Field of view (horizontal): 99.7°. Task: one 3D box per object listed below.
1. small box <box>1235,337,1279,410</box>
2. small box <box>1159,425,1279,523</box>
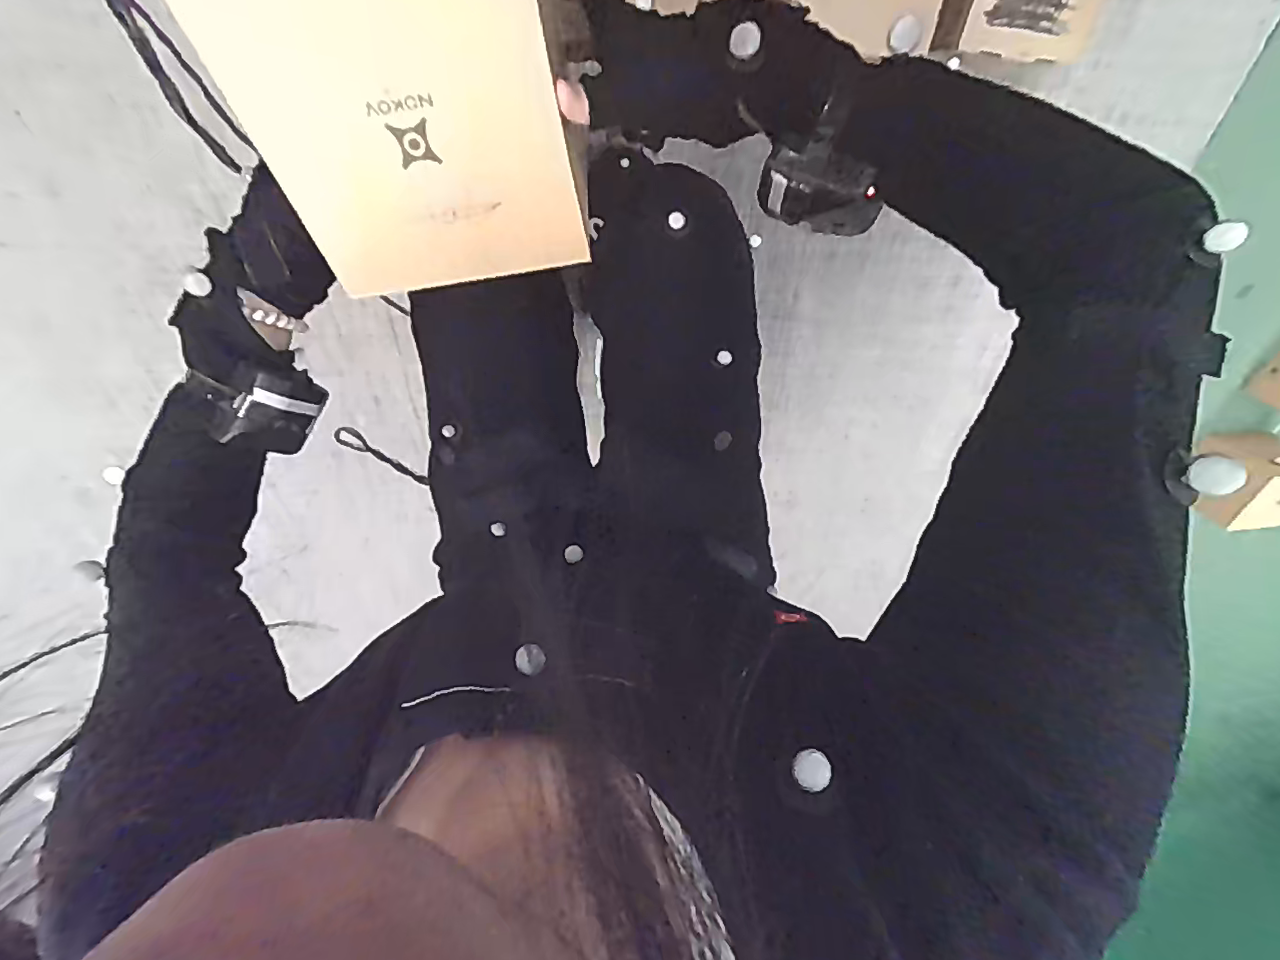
[{"bbox_3d":[1.457,-0.221,1.142,0.179,0.176,0.168,6,127,-13],"label":"small box"},{"bbox_3d":[1.430,-0.018,1.300,0.179,0.176,0.168,-5,130,-7],"label":"small box"}]
